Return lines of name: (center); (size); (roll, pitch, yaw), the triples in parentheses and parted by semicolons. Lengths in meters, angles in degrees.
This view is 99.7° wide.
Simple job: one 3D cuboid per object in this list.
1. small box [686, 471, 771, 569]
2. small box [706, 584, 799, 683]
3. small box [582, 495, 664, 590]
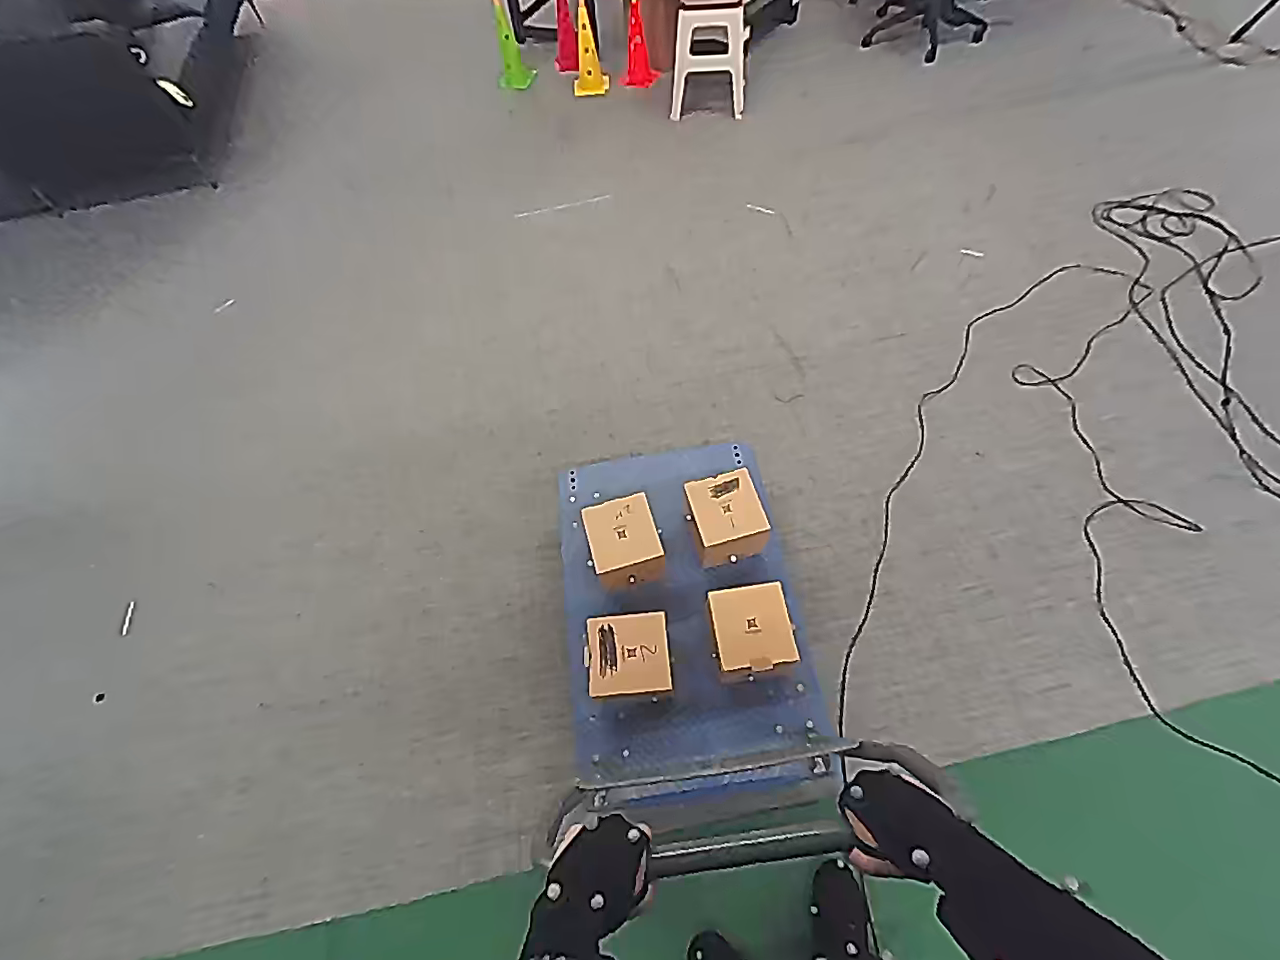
small box: (0.216, 0.105, 1.377); (0.168, 0.176, 0.179); (-15, 63, -3)
small box: (0.249, 0.357, 1.244); (0.168, 0.176, 0.179); (-8, 62, 0)
small box: (-0.038, 0.165, 1.363); (0.168, 0.176, 0.179); (-15, 62, -5)
